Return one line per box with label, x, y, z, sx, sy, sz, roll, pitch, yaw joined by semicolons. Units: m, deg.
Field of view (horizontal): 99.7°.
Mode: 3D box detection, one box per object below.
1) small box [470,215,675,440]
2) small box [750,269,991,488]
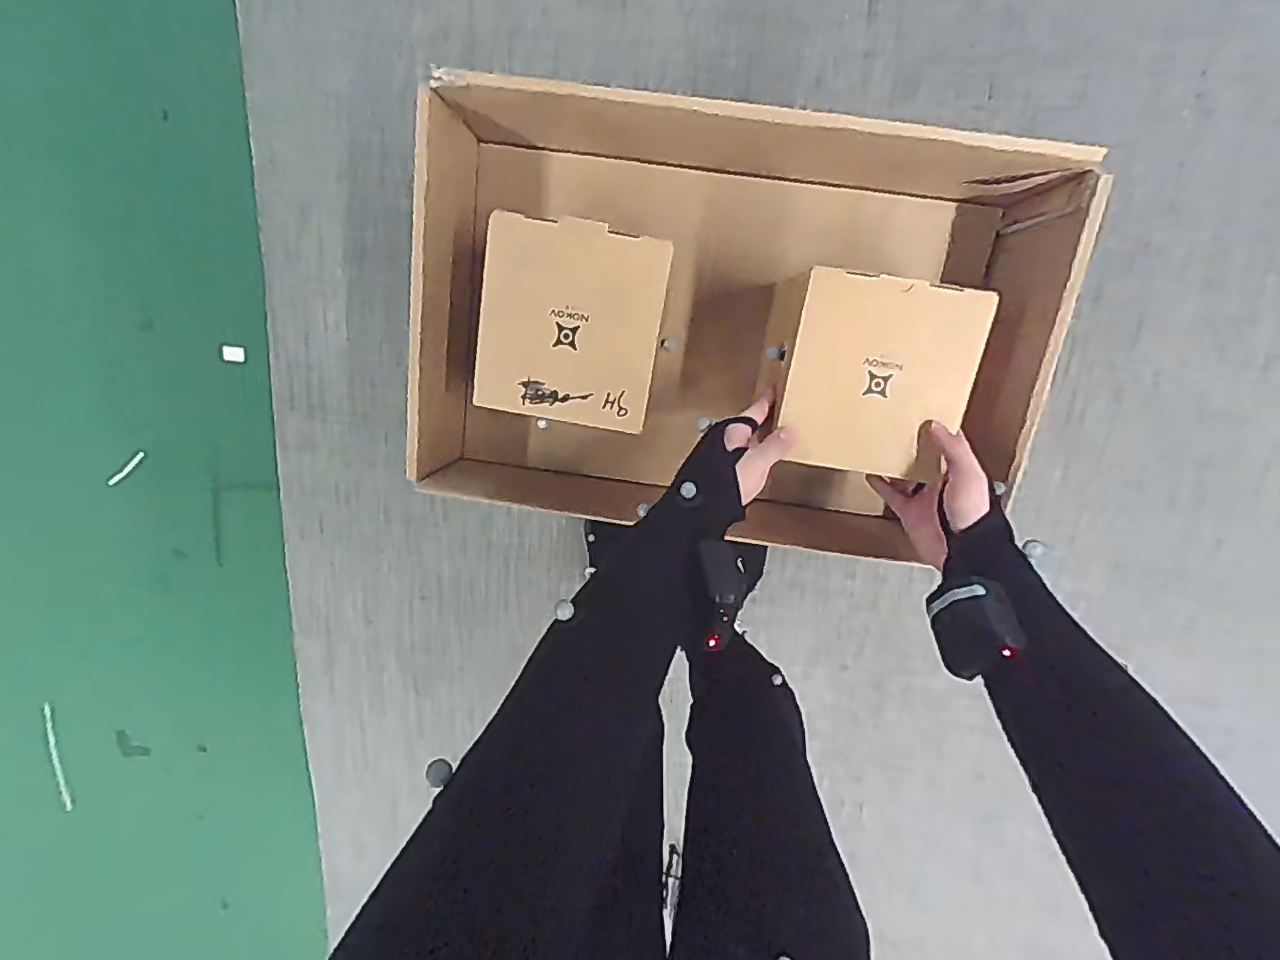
small box;-0.060;-0.152;0.570;0.168;0.176;0.179;11;103;3
small box;0.217;-0.107;0.566;0.168;0.176;0.179;9;103;2
